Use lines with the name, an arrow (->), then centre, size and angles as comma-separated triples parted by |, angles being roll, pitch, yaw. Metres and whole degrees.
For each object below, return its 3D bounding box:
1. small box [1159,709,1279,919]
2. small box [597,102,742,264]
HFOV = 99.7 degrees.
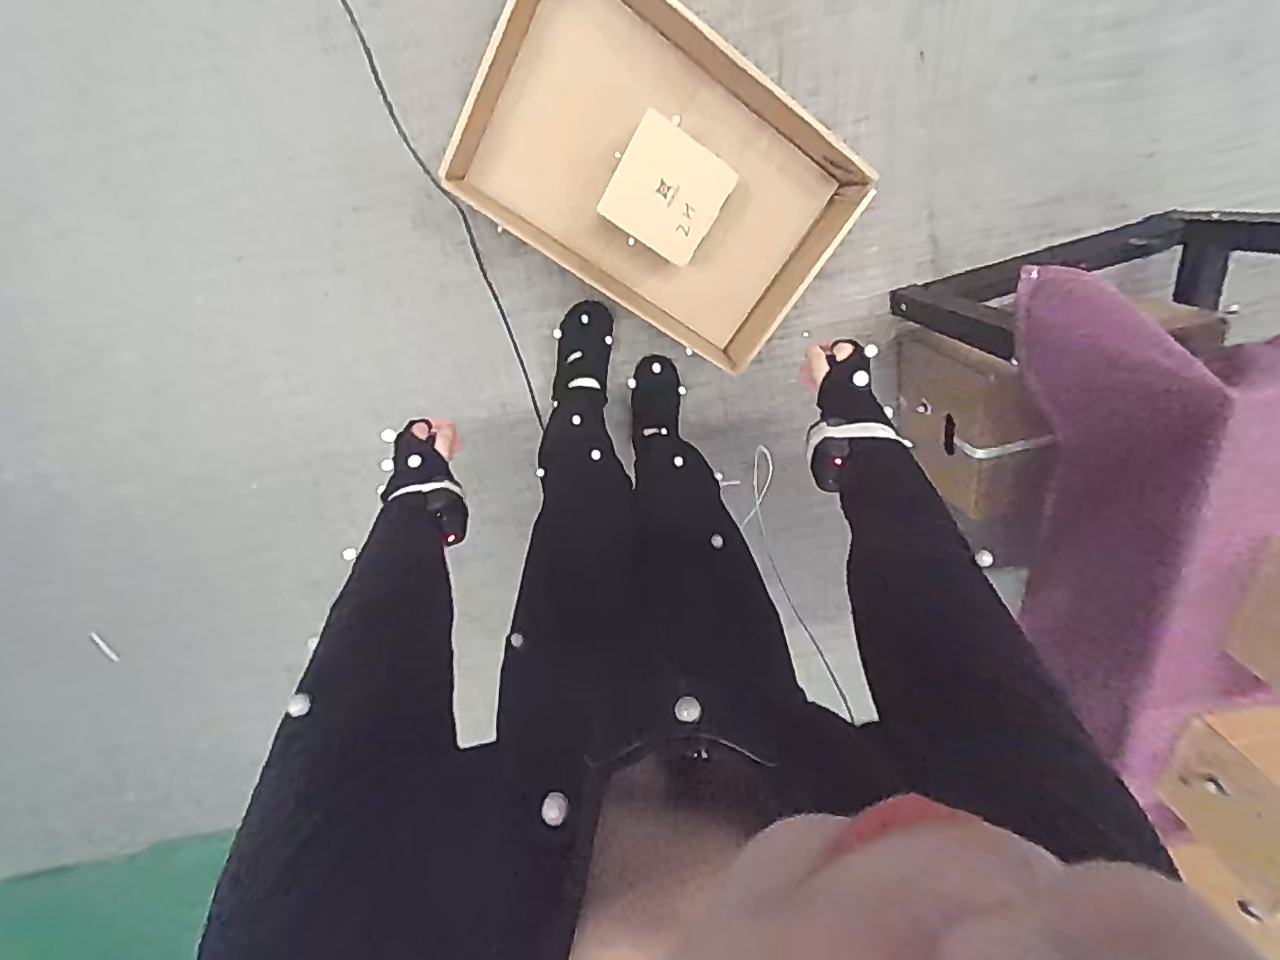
small box -> 0.827, 0.403, 0.672 | 0.179, 0.176, 0.168 | -7, 118, 2
small box -> 0.044, -0.496, 0.921 | 0.179, 0.176, 0.168 | 29, 115, -15
